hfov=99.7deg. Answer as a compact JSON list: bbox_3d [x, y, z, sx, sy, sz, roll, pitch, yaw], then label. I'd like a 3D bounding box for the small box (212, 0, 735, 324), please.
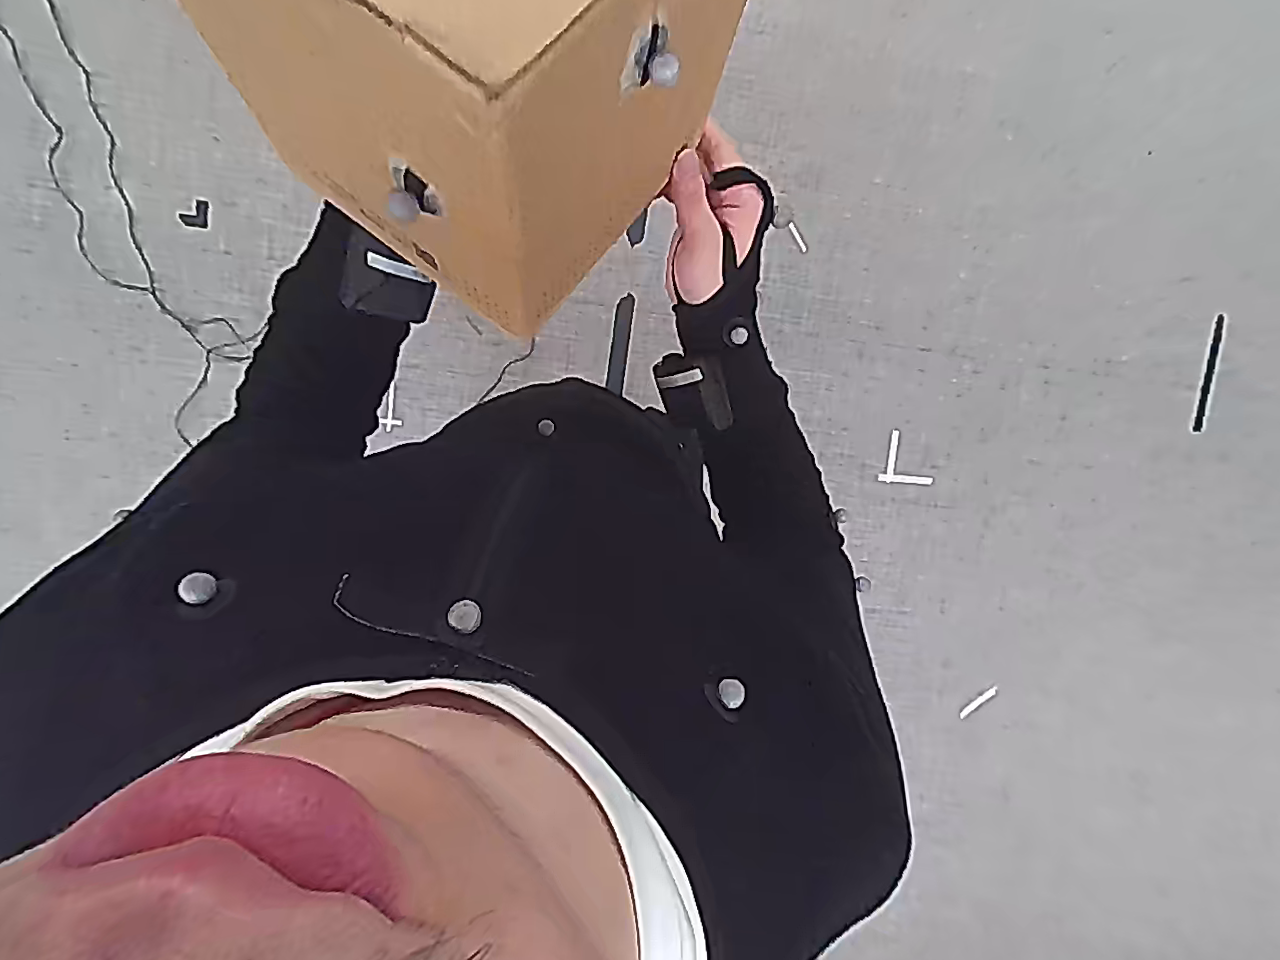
[{"bbox_3d":[-0.065,-0.208,0.252,0.168,0.176,0.179,37,77,-2],"label":"small box"}]
